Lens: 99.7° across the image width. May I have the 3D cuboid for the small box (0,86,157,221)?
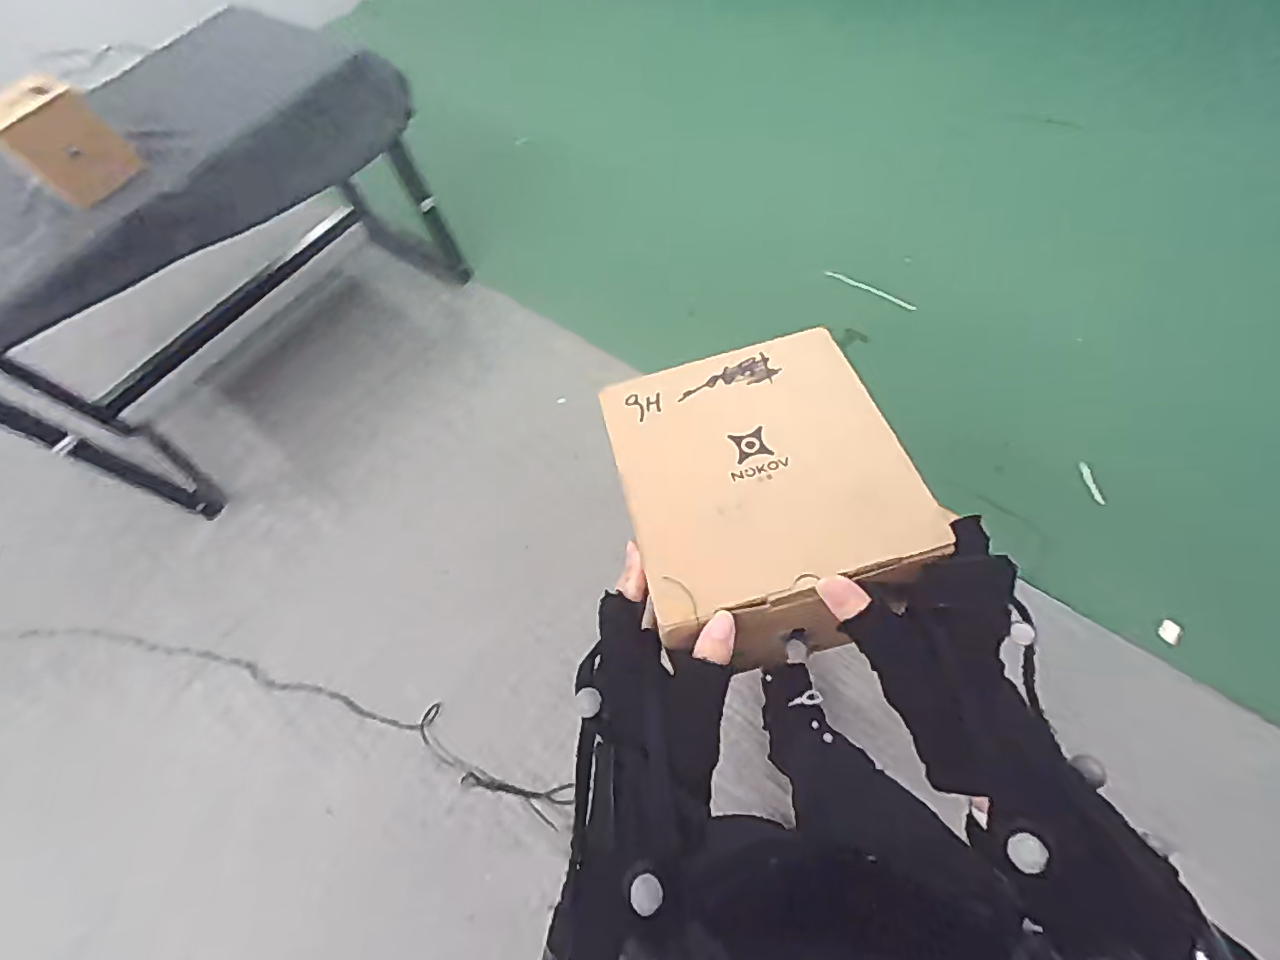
[{"bbox_3d":[-1.212,-0.704,1.172,0.168,0.176,0.179,29,71,21],"label":"small box"}]

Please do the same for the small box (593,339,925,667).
[{"bbox_3d":[0.075,0.031,0.412,0.168,0.176,0.179,-16,59,-1],"label":"small box"}]
